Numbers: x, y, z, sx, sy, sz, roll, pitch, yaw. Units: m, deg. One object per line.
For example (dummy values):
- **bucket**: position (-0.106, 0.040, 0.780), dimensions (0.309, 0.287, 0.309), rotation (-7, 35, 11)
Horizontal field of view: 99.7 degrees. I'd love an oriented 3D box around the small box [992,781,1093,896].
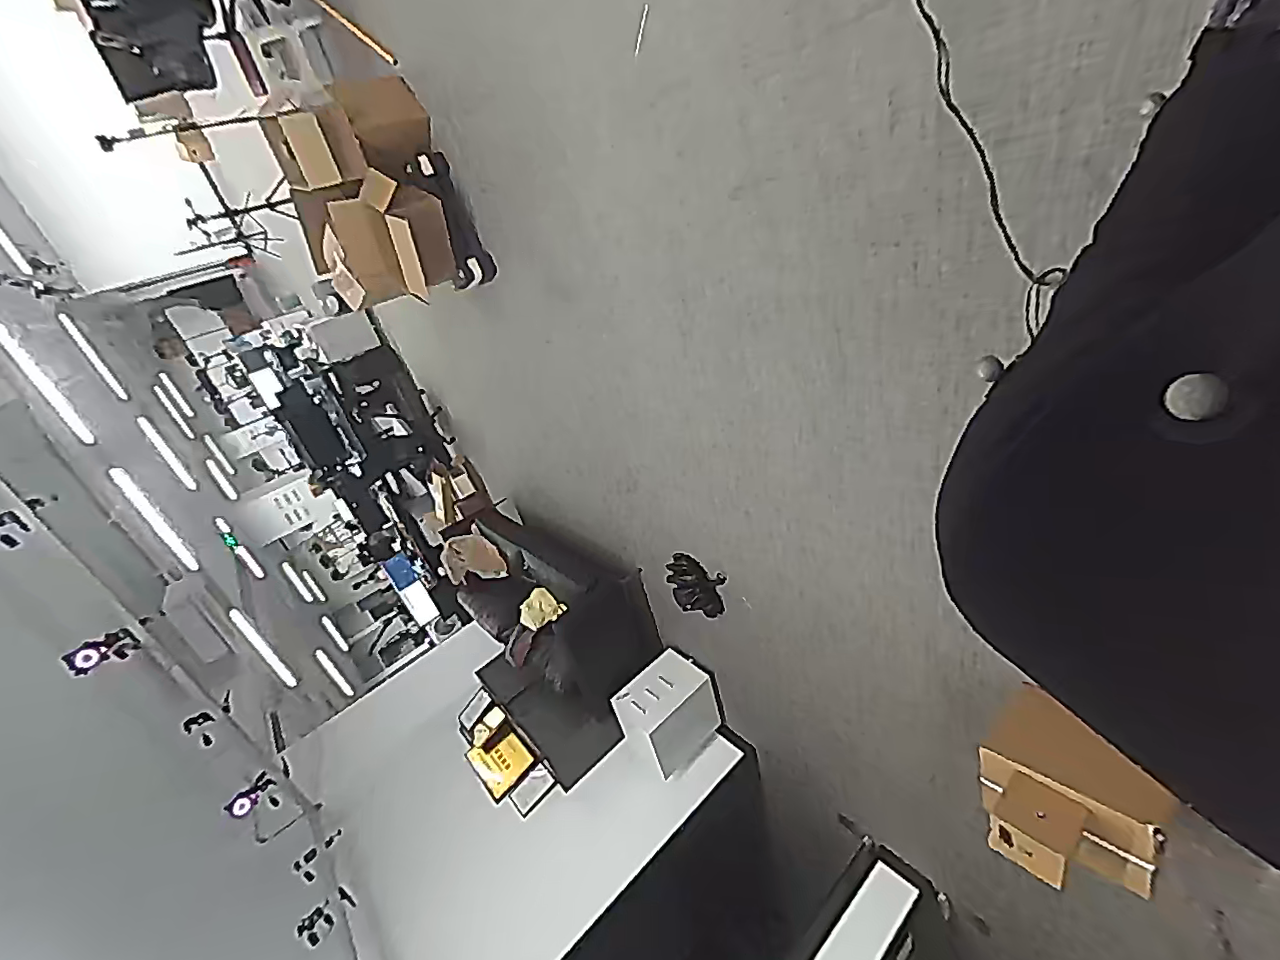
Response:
- **small box**: position (1.103, 0.971, 1.488), dimensions (0.179, 0.176, 0.168), rotation (18, 133, 48)
